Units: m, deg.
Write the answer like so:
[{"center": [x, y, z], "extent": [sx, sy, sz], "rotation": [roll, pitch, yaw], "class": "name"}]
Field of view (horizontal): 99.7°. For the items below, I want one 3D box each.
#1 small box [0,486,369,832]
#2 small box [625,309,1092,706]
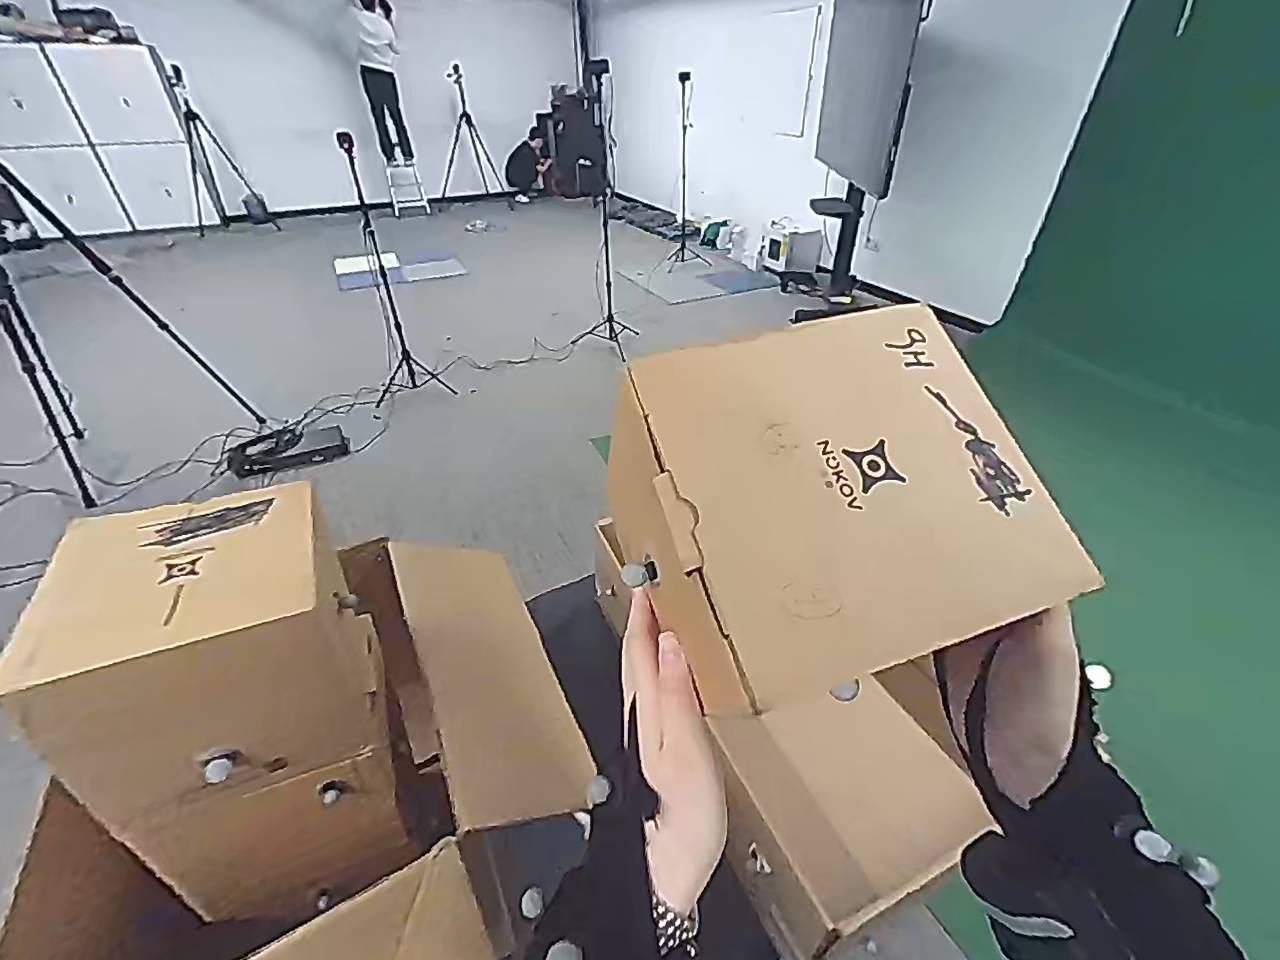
[{"center": [-0.330, 0.132, 0.438], "extent": [0.168, 0.176, 0.179], "rotation": [-13, 37, -24], "class": "small box"}, {"center": [0.093, 0.029, 0.329], "extent": [0.179, 0.176, 0.168], "rotation": [-14, 69, -12], "class": "small box"}]
